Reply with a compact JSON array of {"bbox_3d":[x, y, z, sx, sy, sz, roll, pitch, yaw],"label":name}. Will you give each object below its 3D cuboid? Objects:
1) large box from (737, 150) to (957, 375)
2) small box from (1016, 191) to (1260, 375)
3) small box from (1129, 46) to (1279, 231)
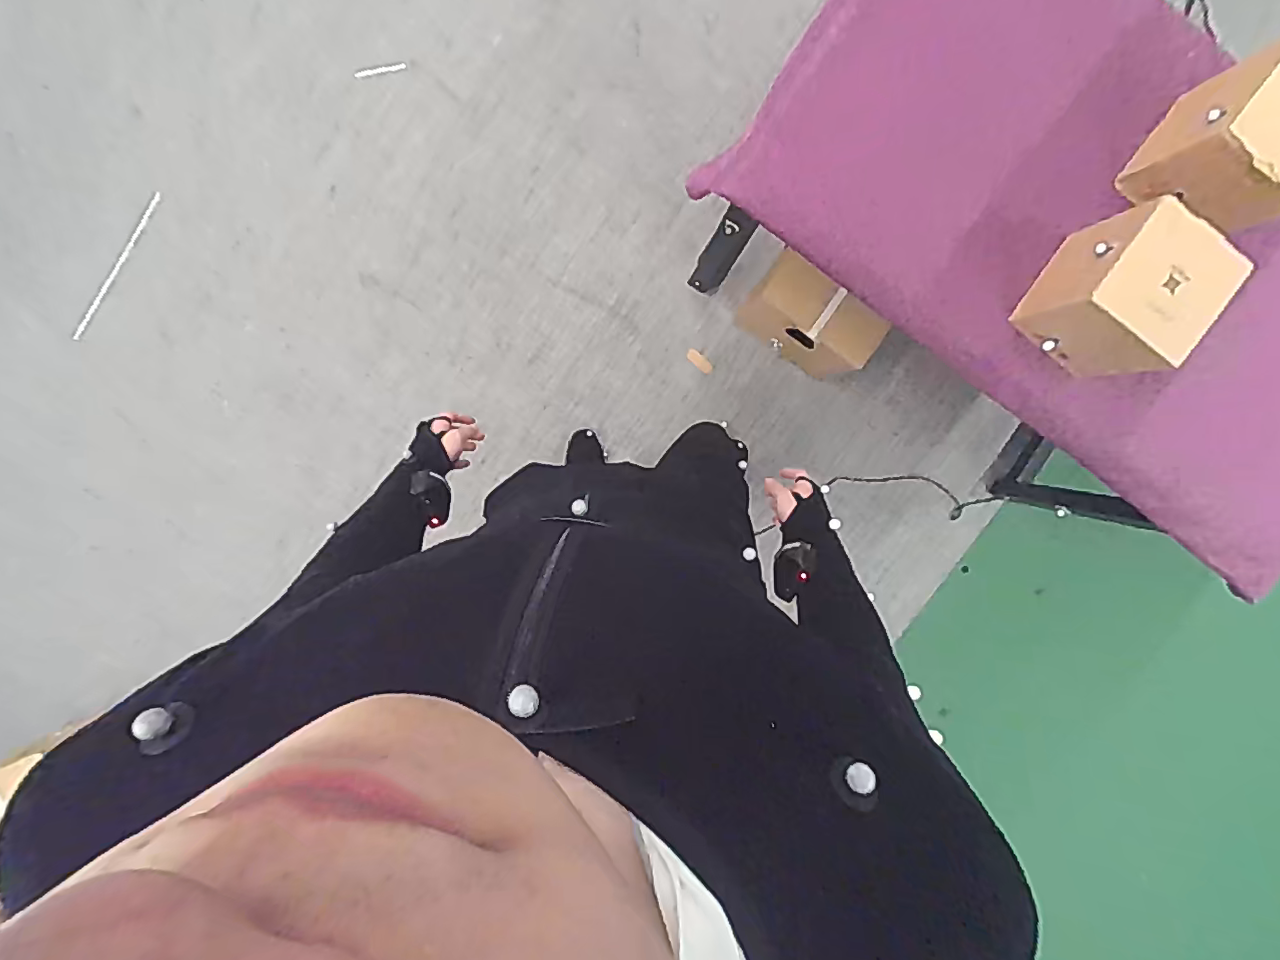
[{"bbox_3d":[0.517,-0.539,1.435,0.320,0.320,0.408,34,93,-7],"label":"large box"},{"bbox_3d":[0.723,-0.278,0.808,0.168,0.176,0.179,36,94,-5],"label":"small box"},{"bbox_3d":[0.892,-0.494,0.790,0.168,0.176,0.179,36,95,-7],"label":"small box"}]
